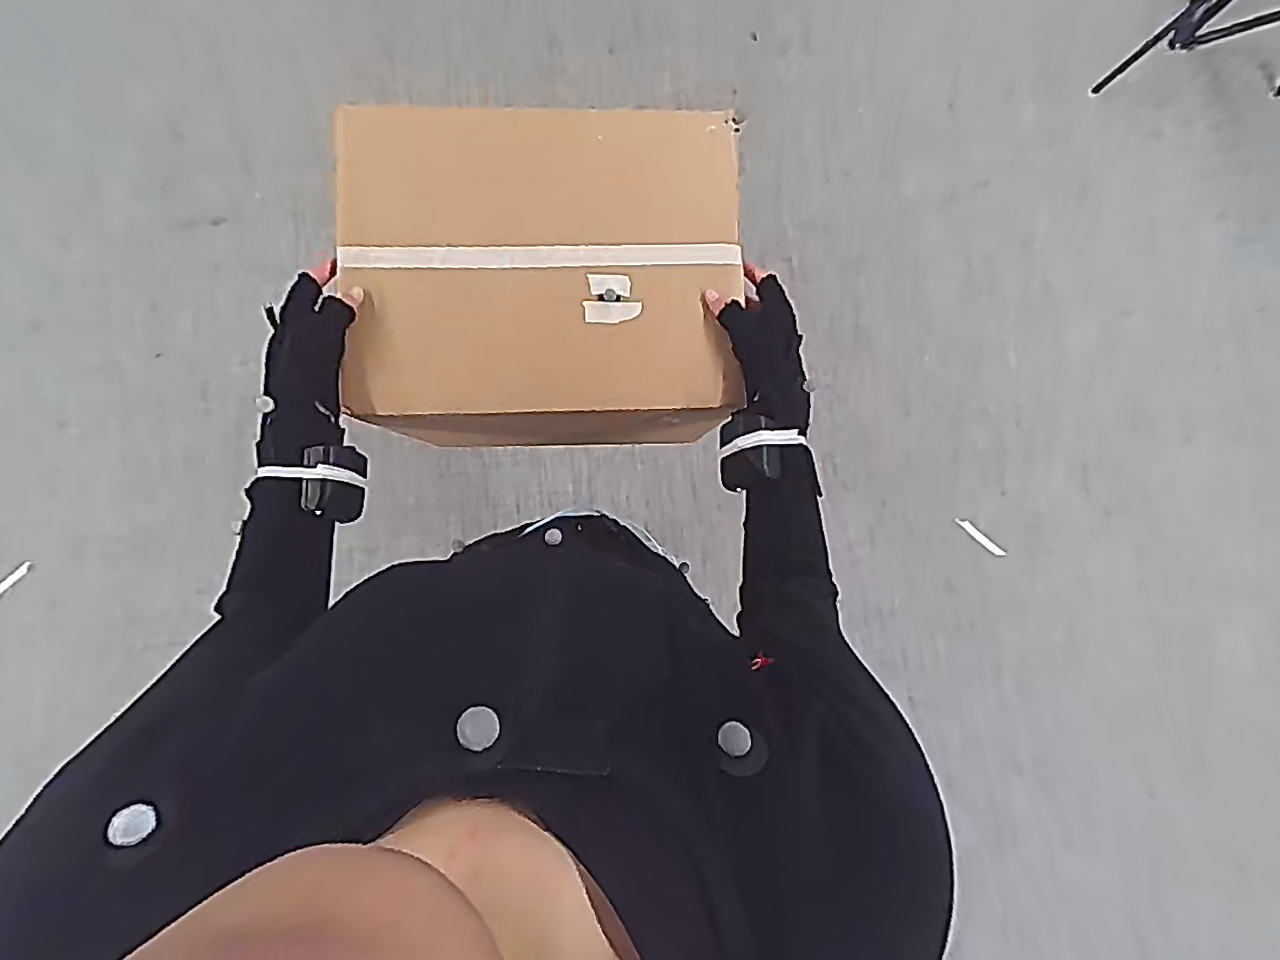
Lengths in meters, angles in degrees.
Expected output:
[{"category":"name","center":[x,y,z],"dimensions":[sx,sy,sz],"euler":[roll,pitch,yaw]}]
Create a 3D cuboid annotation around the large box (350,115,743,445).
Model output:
[{"category":"large box","center":[-0.107,-0.222,0.710],"dimensions":[0.408,0.320,0.320],"euler":[-2,88,-4]}]
